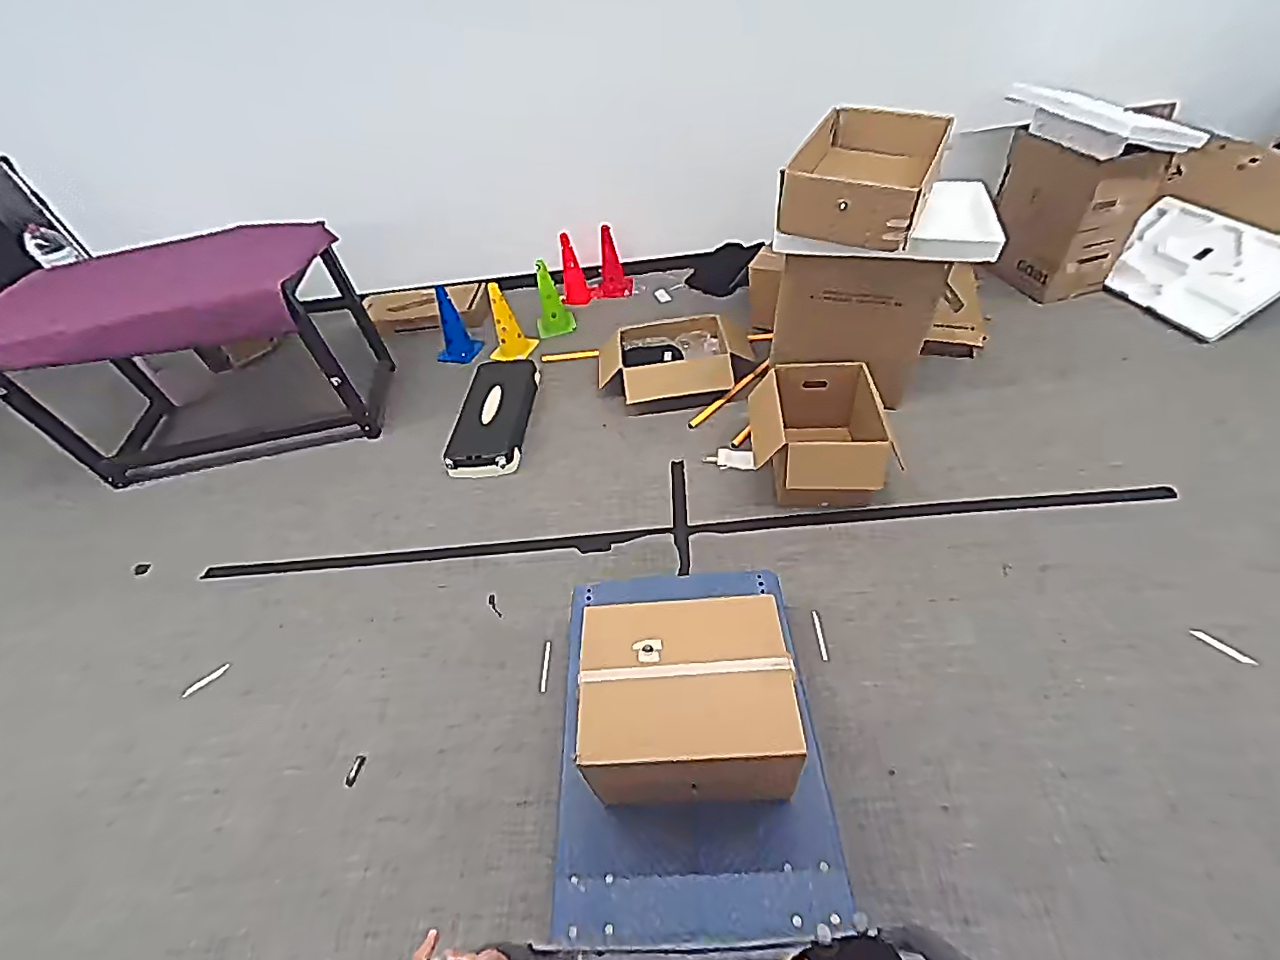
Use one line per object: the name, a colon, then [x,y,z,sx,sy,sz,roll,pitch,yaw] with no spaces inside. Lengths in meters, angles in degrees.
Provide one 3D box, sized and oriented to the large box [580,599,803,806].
large box: [0.103,0.485,1.163,0.408,0.320,0.320,-6,46,4]
